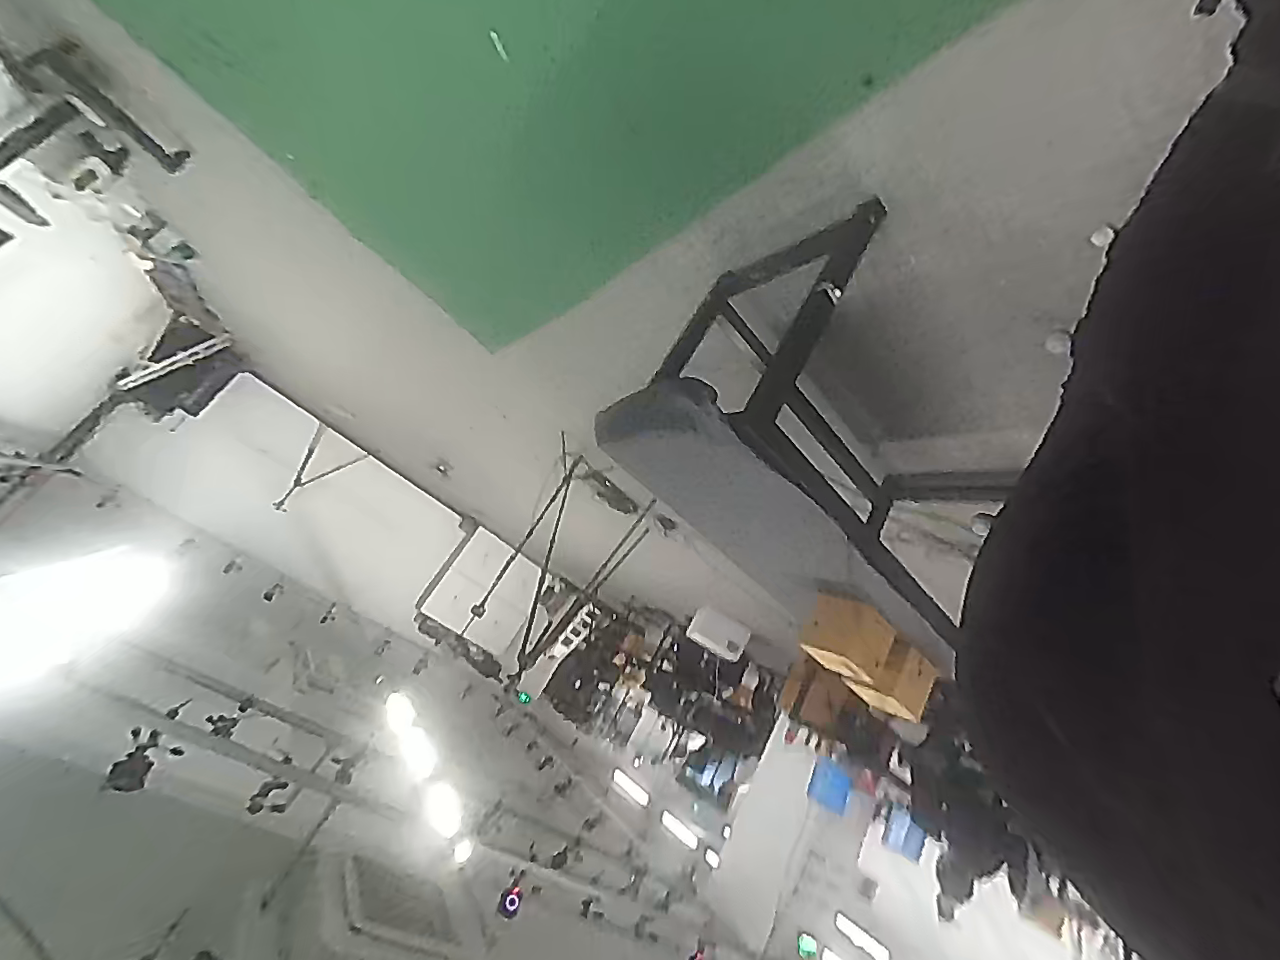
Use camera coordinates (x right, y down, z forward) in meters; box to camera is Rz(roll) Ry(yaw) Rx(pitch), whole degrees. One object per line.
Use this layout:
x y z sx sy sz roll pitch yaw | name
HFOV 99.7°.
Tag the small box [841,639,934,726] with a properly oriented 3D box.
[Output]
0.760 0.611 1.658 0.168 0.176 0.179 42 159 -23 | small box
